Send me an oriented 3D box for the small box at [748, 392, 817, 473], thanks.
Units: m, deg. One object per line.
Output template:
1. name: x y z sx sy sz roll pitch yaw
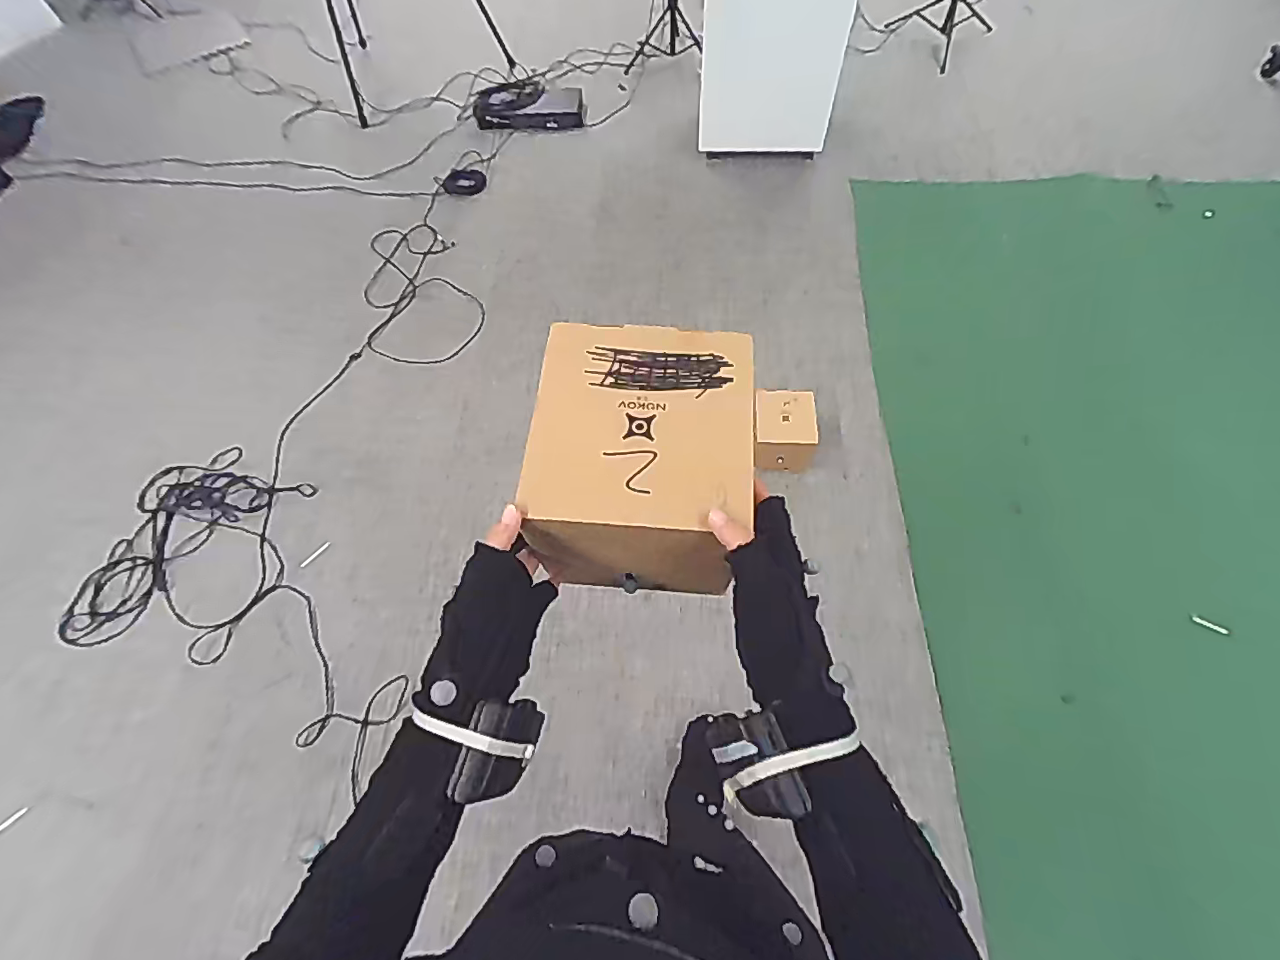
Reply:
1. small box: 0.406 -0.134 1.565 0.168 0.176 0.179 2 62 4
